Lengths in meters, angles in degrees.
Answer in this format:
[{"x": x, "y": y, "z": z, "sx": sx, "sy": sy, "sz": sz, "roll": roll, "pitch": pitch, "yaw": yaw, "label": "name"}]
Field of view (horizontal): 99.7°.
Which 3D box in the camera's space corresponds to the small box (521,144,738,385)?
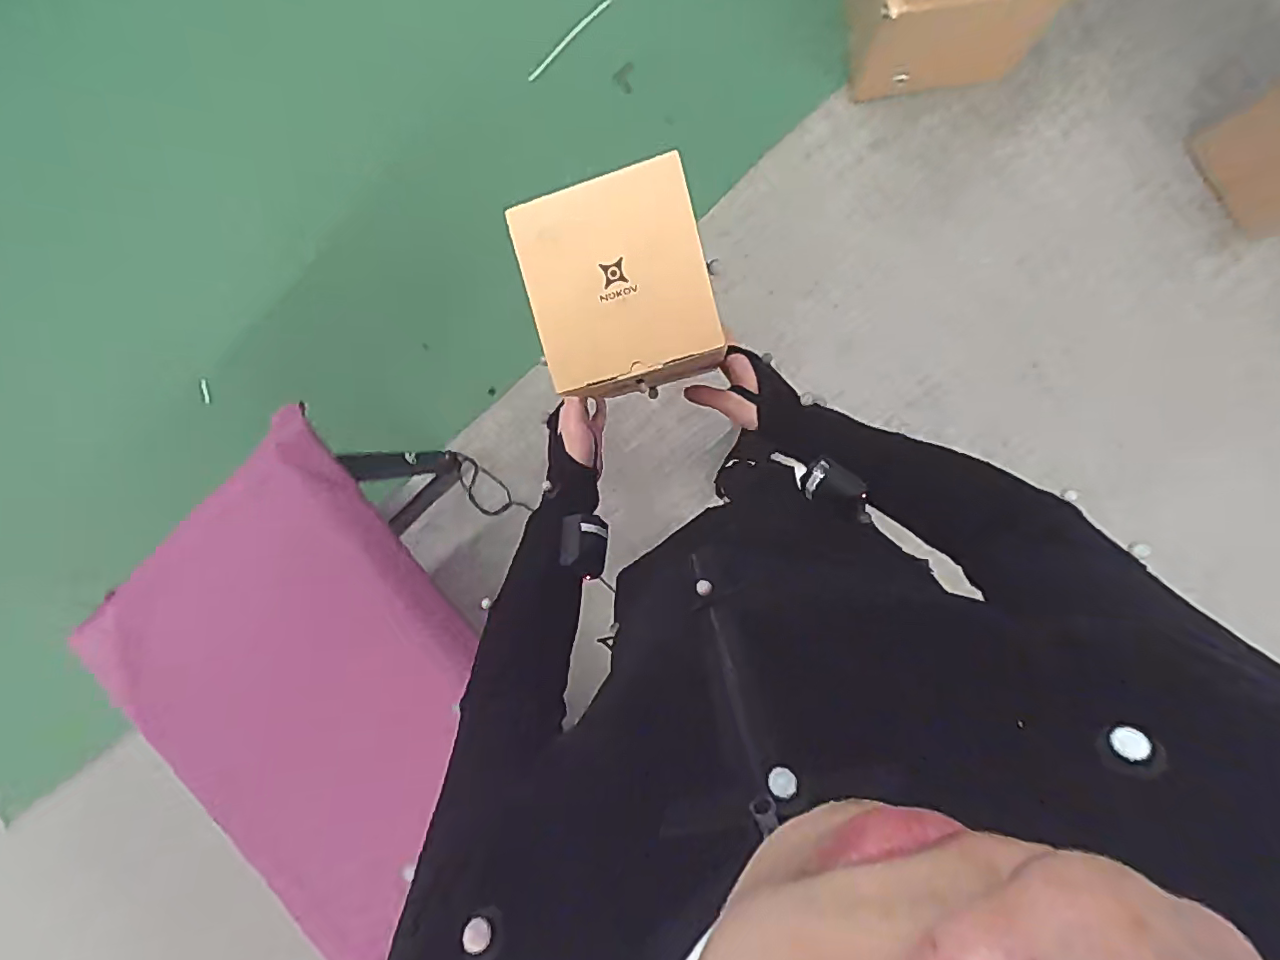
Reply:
[{"x": -0.002, "y": -0.202, "z": 0.563, "sx": 0.168, "sy": 0.176, "sz": 0.179, "roll": -14, "pitch": 99, "yaw": 8, "label": "small box"}]
